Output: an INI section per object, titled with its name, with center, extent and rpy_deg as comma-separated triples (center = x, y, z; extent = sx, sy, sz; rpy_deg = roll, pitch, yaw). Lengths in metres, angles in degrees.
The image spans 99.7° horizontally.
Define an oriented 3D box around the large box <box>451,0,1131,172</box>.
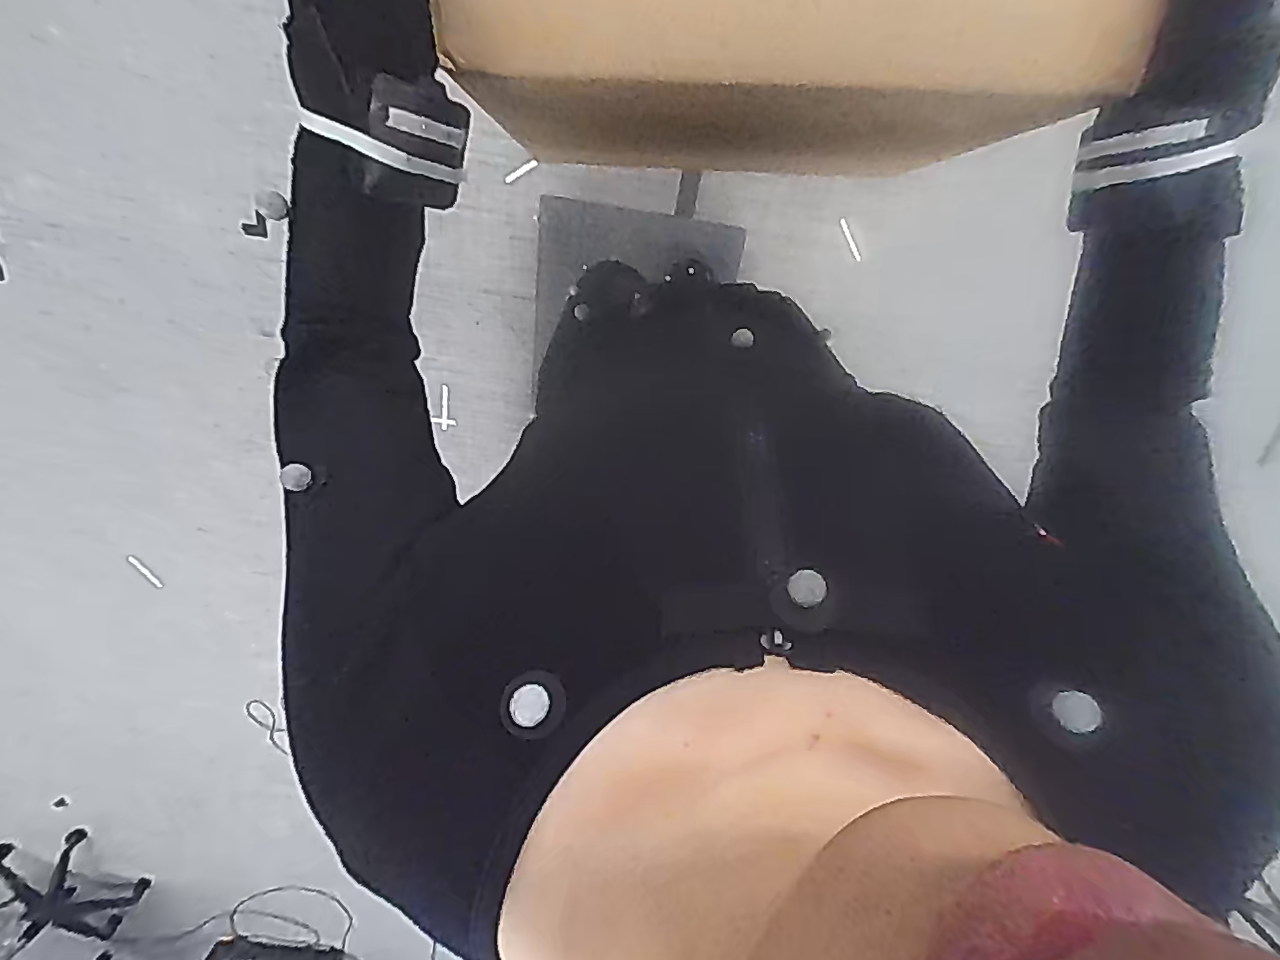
[large box]
center = 0.086, -0.436, 0.410
extent = 0.408, 0.320, 0.320
rpy_deg = 1, 112, -2
